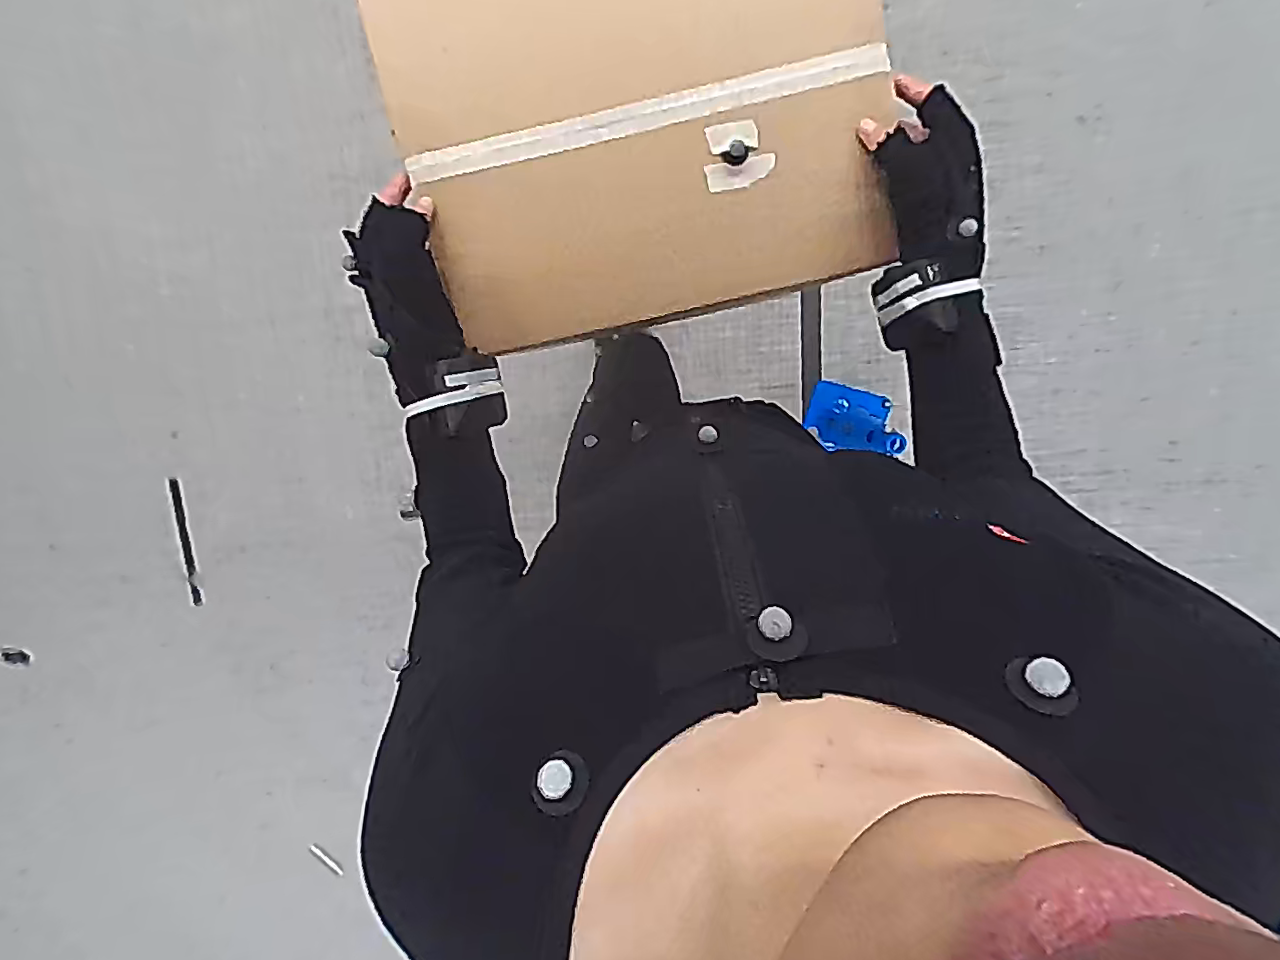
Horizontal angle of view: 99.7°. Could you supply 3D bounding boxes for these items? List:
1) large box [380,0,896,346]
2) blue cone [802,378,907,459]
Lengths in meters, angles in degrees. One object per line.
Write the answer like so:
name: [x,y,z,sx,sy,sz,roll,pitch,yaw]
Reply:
large box: [0.002,-0.348,0.604,0.408,0.320,0.320,-12,104,1]
blue cone: [0.523,-0.129,1.255,0.193,0.380,0.192,17,101,1]
